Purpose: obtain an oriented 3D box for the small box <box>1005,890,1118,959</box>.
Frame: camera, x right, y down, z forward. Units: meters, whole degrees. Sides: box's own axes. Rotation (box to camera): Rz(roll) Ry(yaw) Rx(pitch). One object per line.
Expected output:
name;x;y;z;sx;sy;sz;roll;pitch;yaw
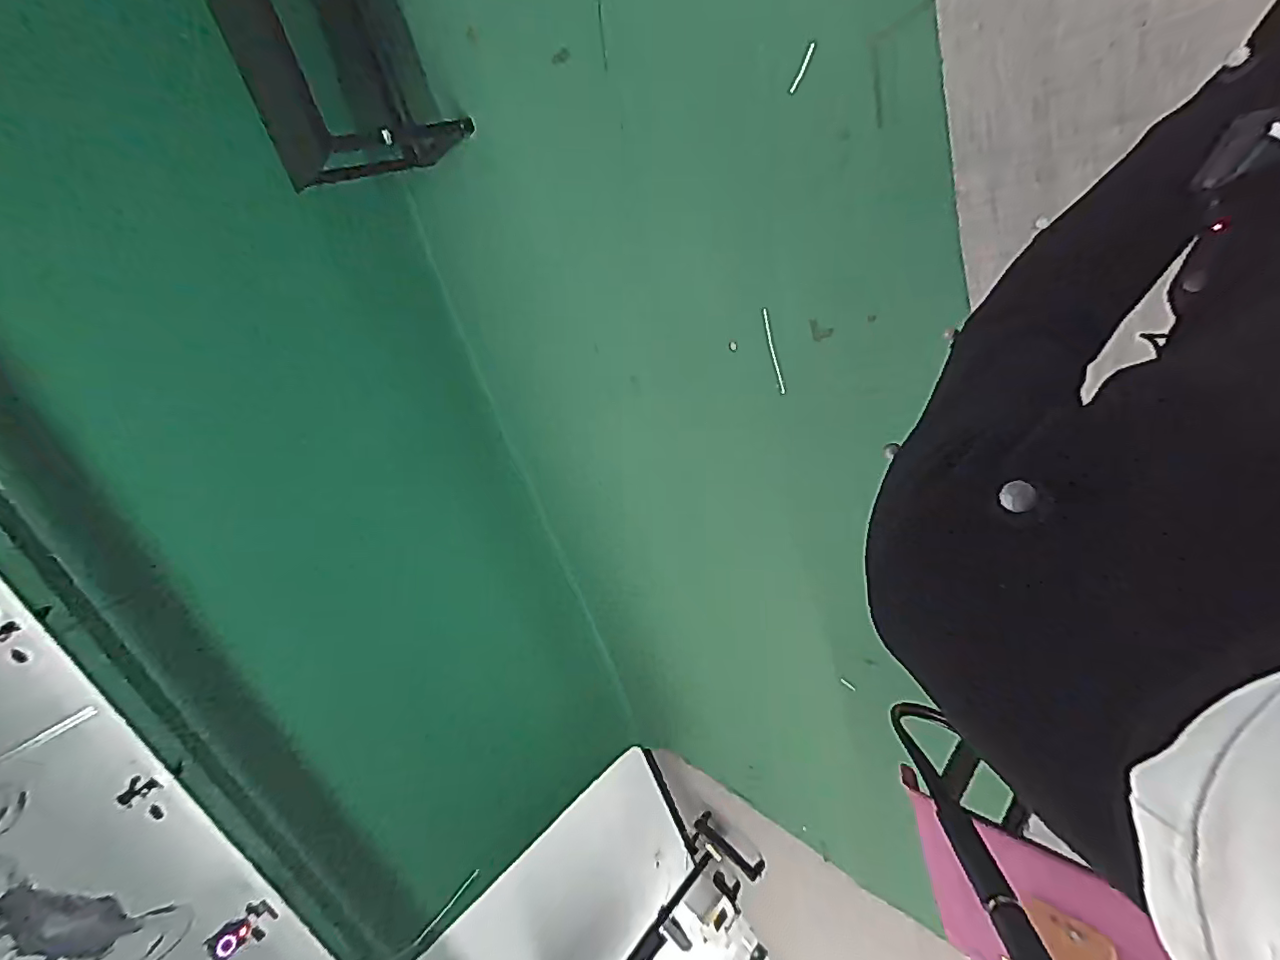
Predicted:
small box;0.935;1.077;1.197;0.168;0.176;0.179;7;124;49
